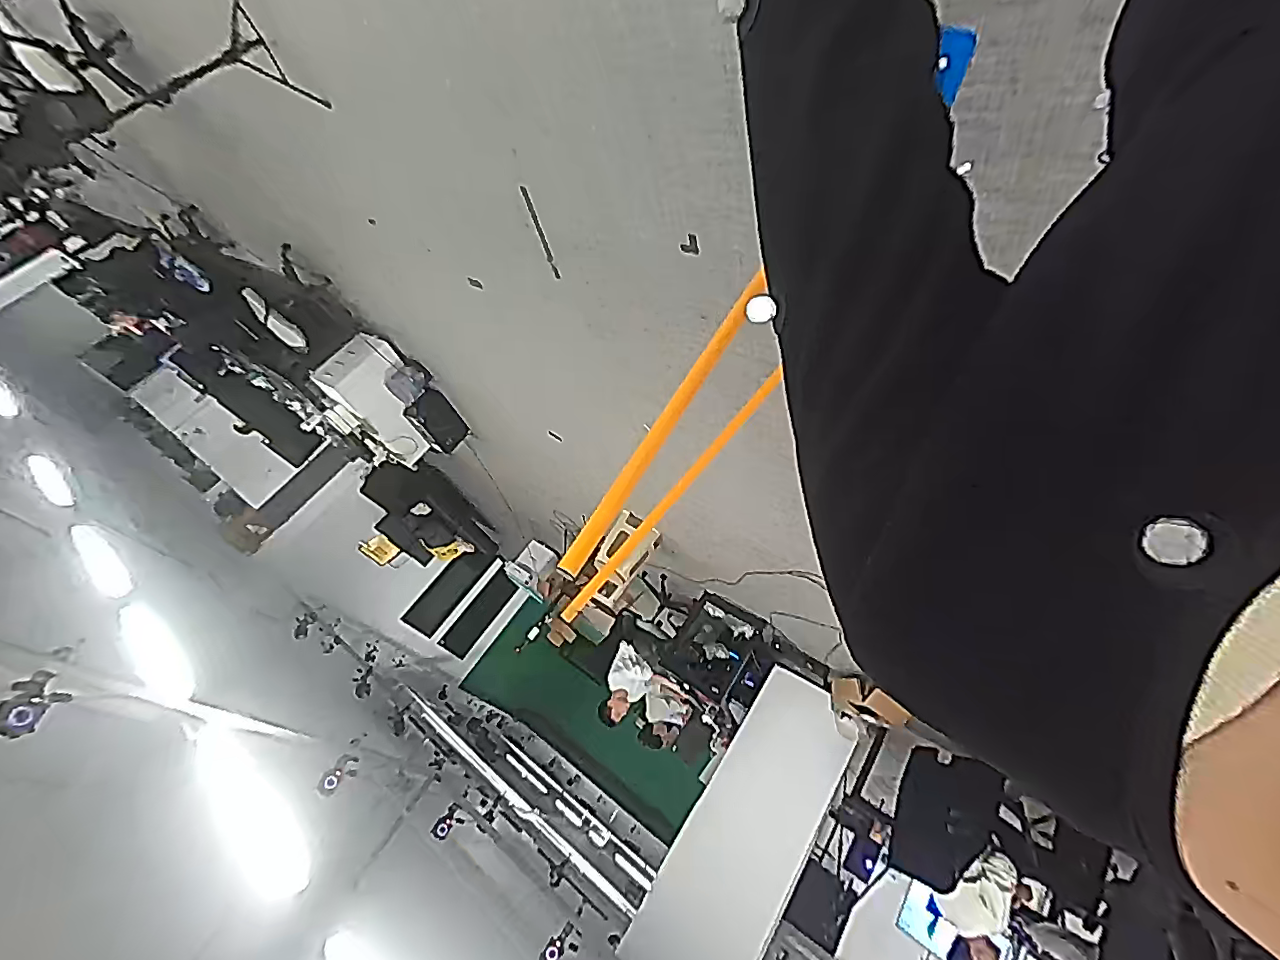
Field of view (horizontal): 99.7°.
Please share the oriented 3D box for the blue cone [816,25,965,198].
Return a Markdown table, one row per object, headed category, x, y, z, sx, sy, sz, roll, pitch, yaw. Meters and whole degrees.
| category | x | y | z | sx | sy | sz | roll | pitch | yaw |
| --- | --- | --- | --- | --- | --- | --- | --- | --- | --- |
| blue cone | 0.436 | -0.666 | 1.026 | 0.193 | 0.380 | 0.192 | 30 | 158 | 17 |
